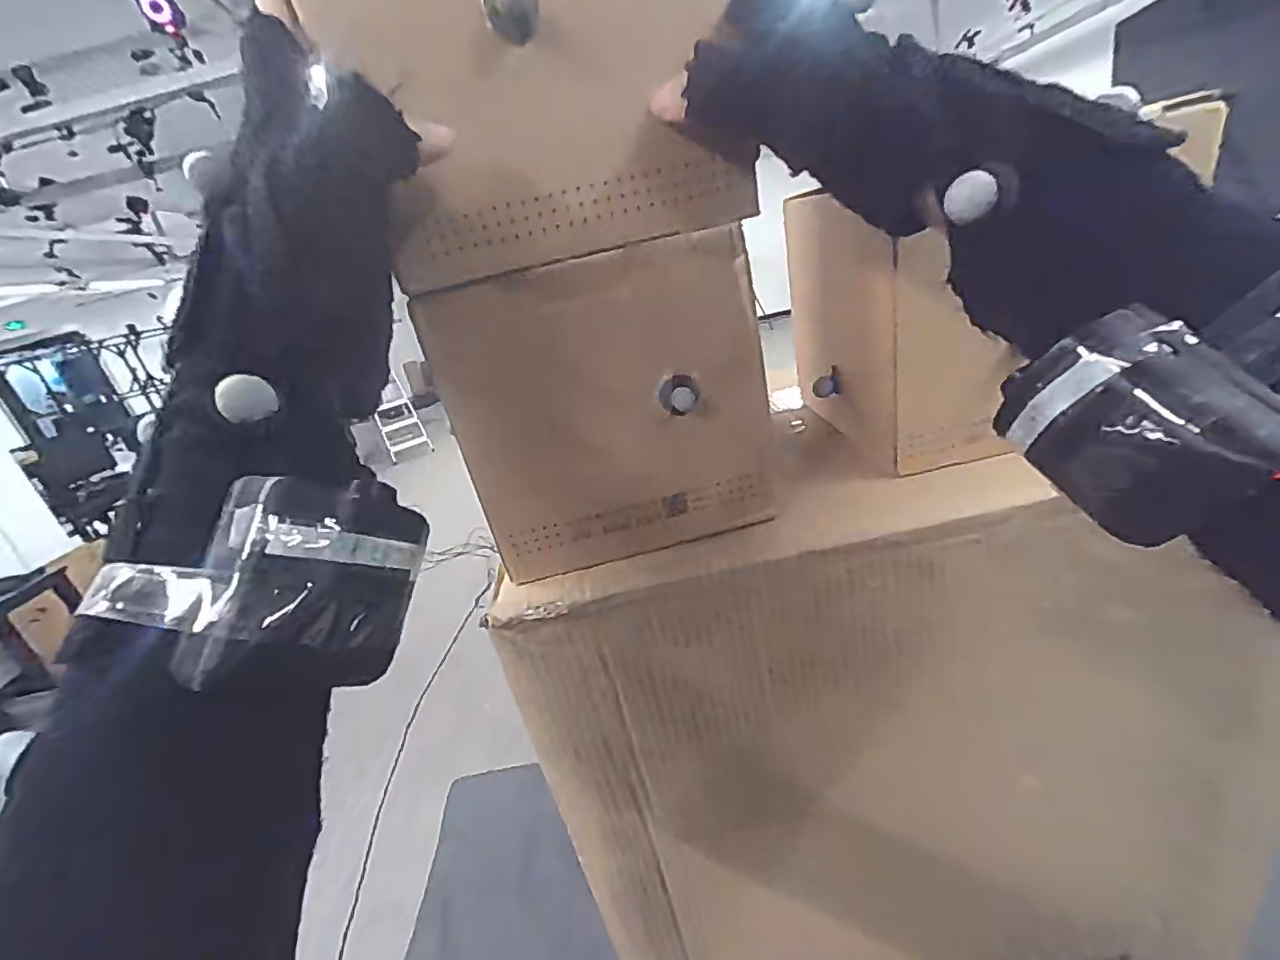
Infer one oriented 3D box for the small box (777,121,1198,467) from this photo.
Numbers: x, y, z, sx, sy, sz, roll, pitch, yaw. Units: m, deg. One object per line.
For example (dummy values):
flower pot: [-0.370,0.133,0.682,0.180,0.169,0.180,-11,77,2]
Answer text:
small box: [0.208,-0.119,0.376,0.168,0.176,0.179,-12,25,1]
